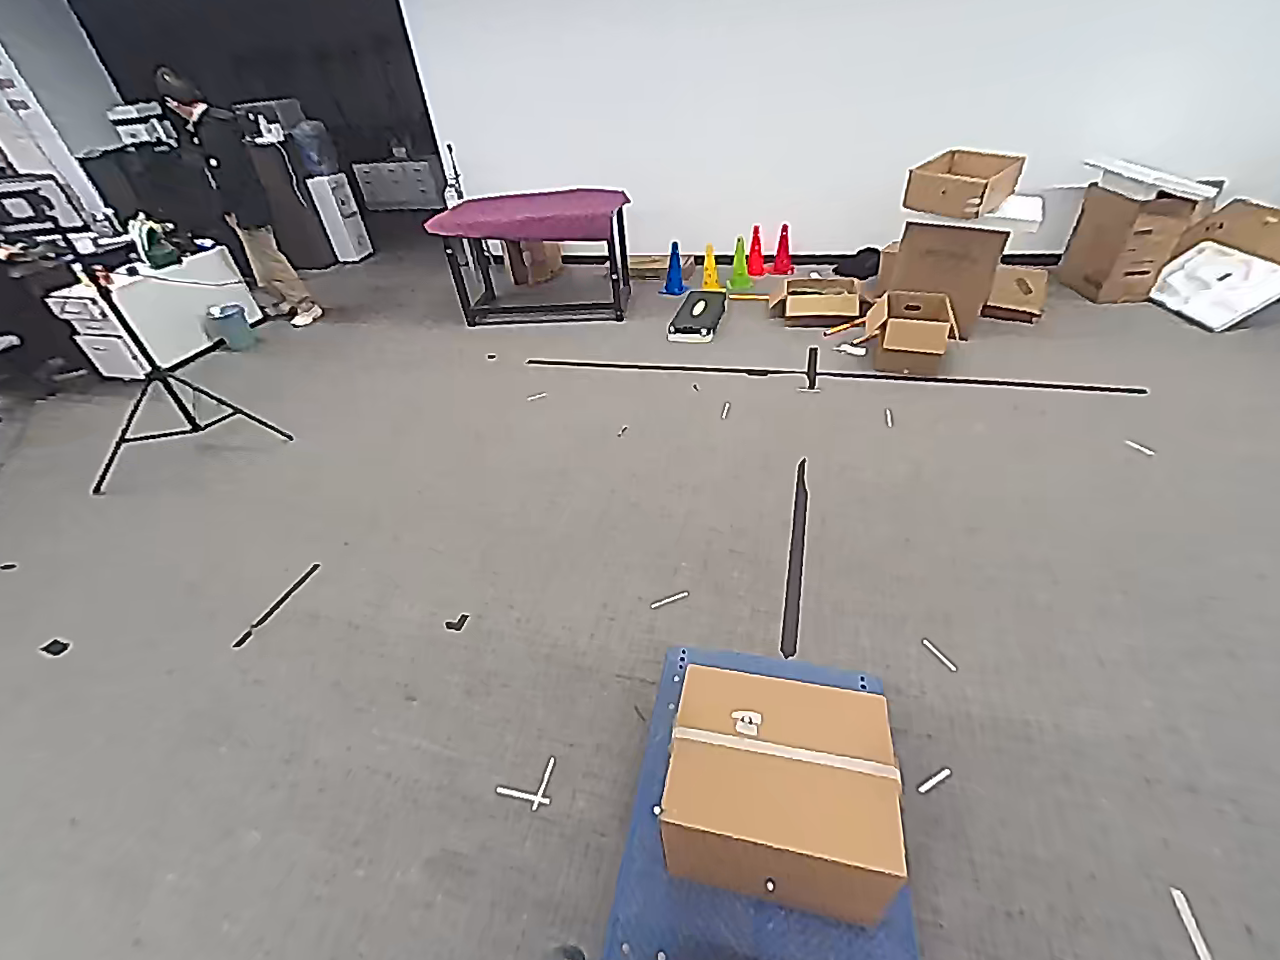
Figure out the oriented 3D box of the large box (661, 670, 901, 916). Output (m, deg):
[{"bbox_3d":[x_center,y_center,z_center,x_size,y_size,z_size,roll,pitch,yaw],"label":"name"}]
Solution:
[{"bbox_3d":[0.276,0.635,1.117,0.408,0.320,0.320,4,39,14],"label":"large box"}]
